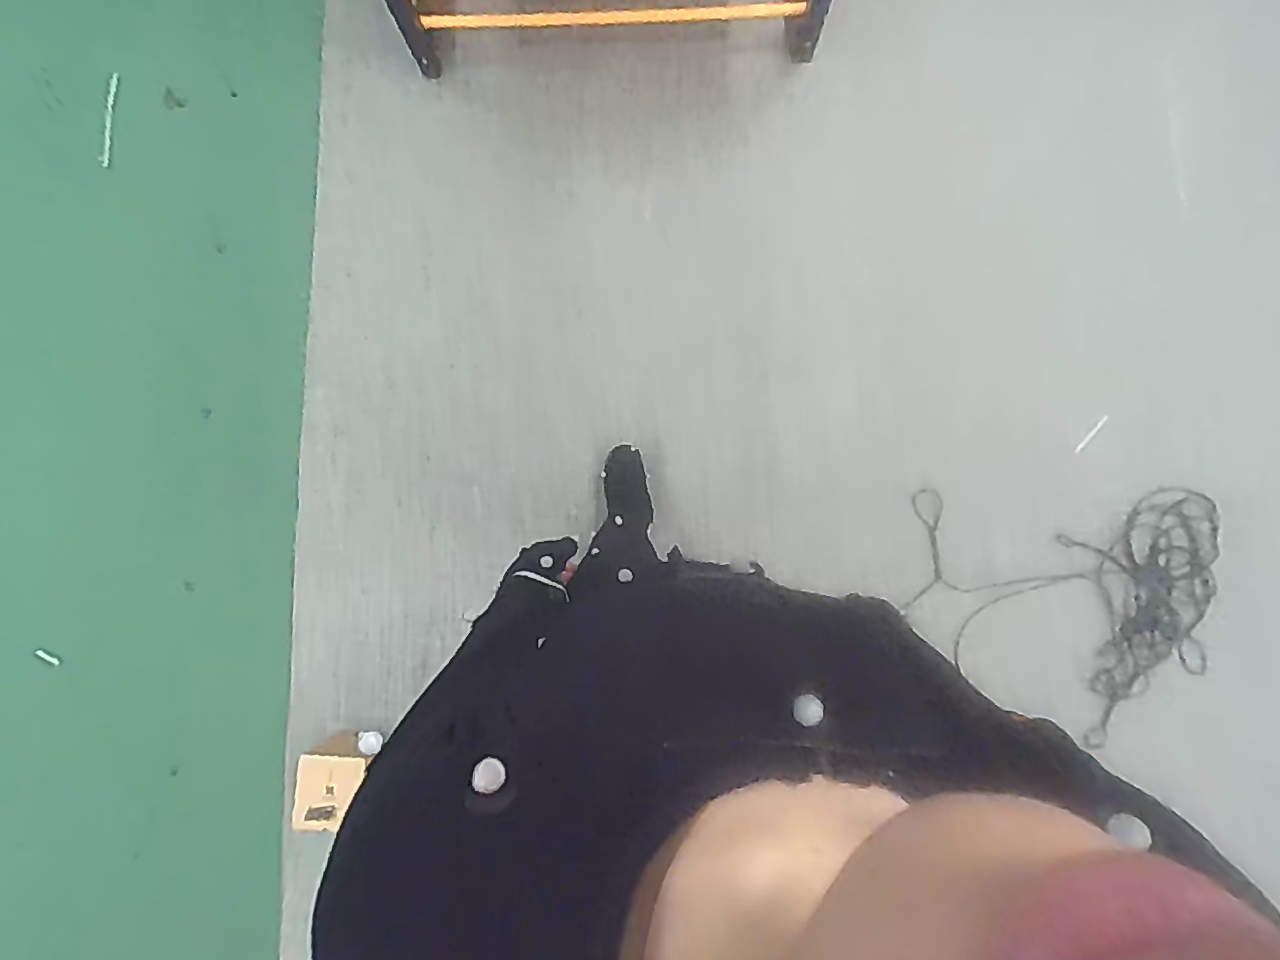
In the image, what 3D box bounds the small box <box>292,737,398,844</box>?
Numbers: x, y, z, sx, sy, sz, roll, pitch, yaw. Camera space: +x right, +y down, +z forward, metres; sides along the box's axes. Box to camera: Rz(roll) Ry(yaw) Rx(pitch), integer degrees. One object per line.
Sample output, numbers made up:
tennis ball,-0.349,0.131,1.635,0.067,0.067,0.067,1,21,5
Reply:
small box,-0.729,0.769,1.353,0.168,0.176,0.179,3,82,2
